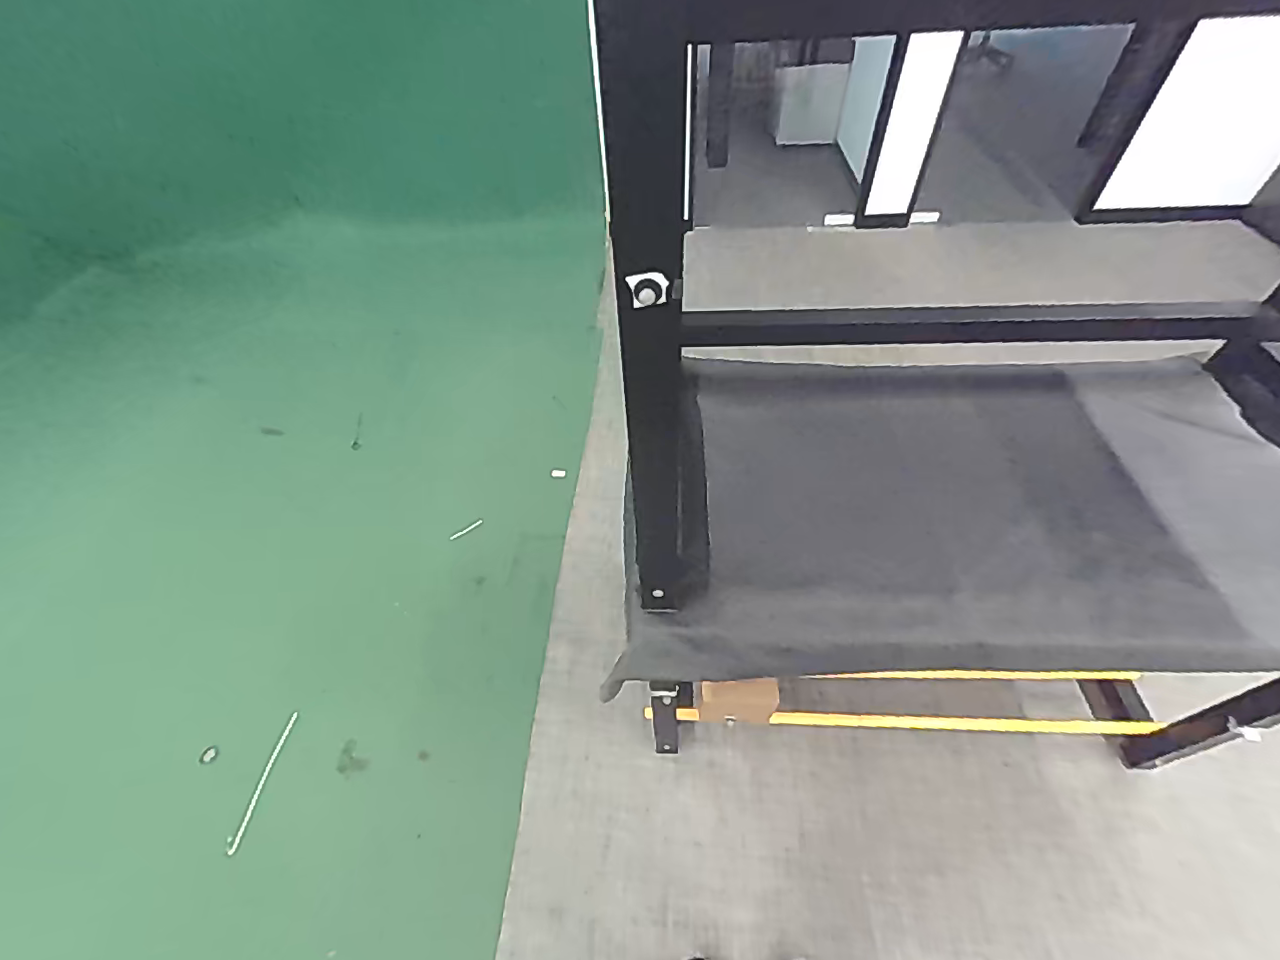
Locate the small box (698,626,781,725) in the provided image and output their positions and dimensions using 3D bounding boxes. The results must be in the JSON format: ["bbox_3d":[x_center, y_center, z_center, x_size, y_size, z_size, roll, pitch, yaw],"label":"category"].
[{"bbox_3d":[0.227,0.463,1.279,0.168,0.176,0.179,0,51,3],"label":"small box"}]
